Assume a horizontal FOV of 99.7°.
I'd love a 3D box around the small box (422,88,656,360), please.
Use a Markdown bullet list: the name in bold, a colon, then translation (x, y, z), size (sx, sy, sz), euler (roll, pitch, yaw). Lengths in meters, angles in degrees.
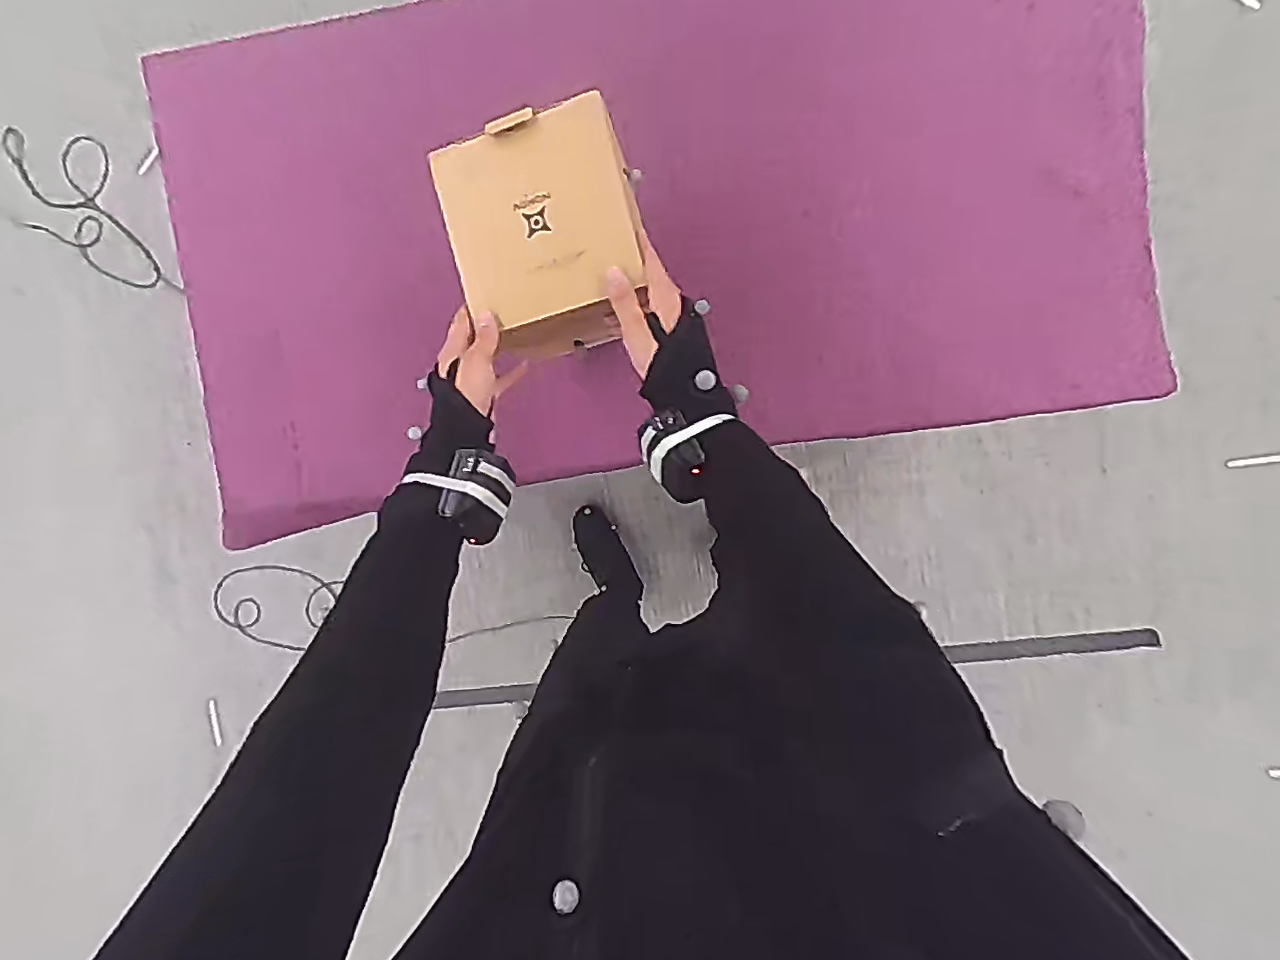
- **small box**: translation (-0.087, -0.237, 0.550), size (0.168, 0.176, 0.179), euler (-13, 93, 9)
